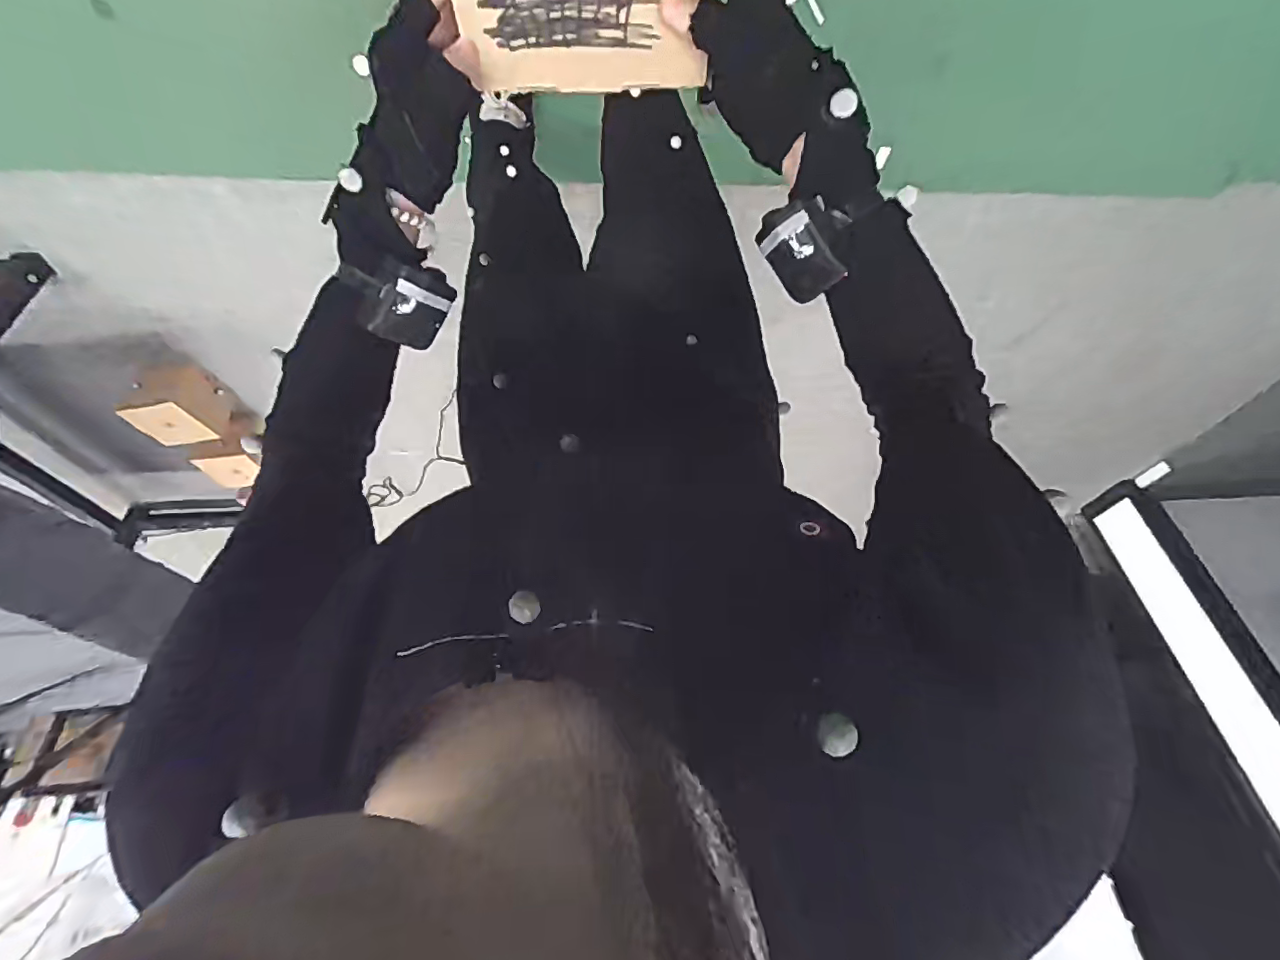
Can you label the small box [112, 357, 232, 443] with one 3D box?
[{"bbox_3d":[-1.327,-0.230,1.549,0.179,0.176,0.168,-7,148,5],"label":"small box"}]
